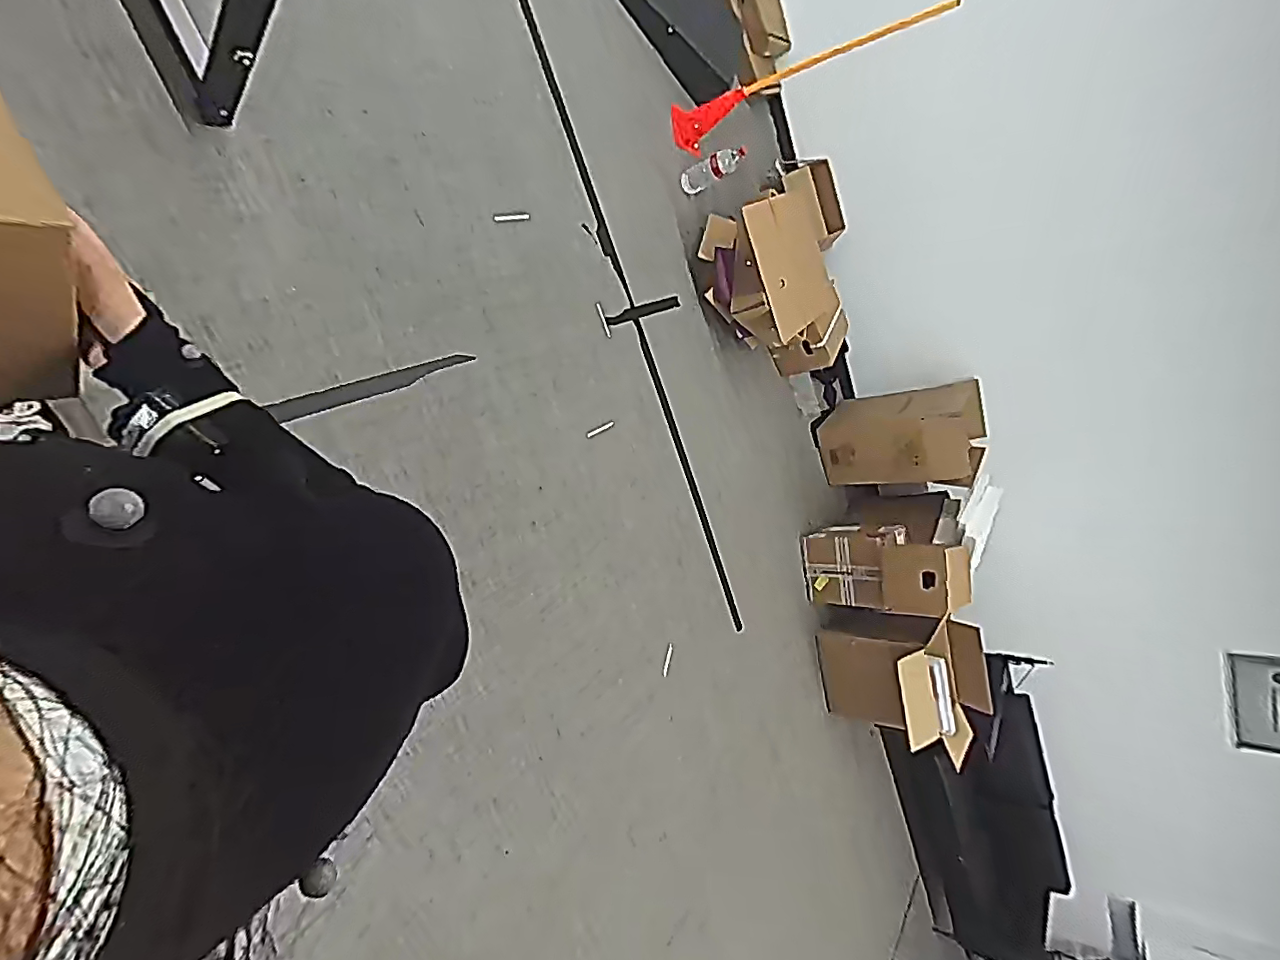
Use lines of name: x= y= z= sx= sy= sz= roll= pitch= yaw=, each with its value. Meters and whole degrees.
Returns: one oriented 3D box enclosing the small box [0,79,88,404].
small box: x=-0.496 y=-0.162 z=0.342 sx=0.179 sy=0.176 sz=0.168 roll=54 pitch=37 yaw=9
